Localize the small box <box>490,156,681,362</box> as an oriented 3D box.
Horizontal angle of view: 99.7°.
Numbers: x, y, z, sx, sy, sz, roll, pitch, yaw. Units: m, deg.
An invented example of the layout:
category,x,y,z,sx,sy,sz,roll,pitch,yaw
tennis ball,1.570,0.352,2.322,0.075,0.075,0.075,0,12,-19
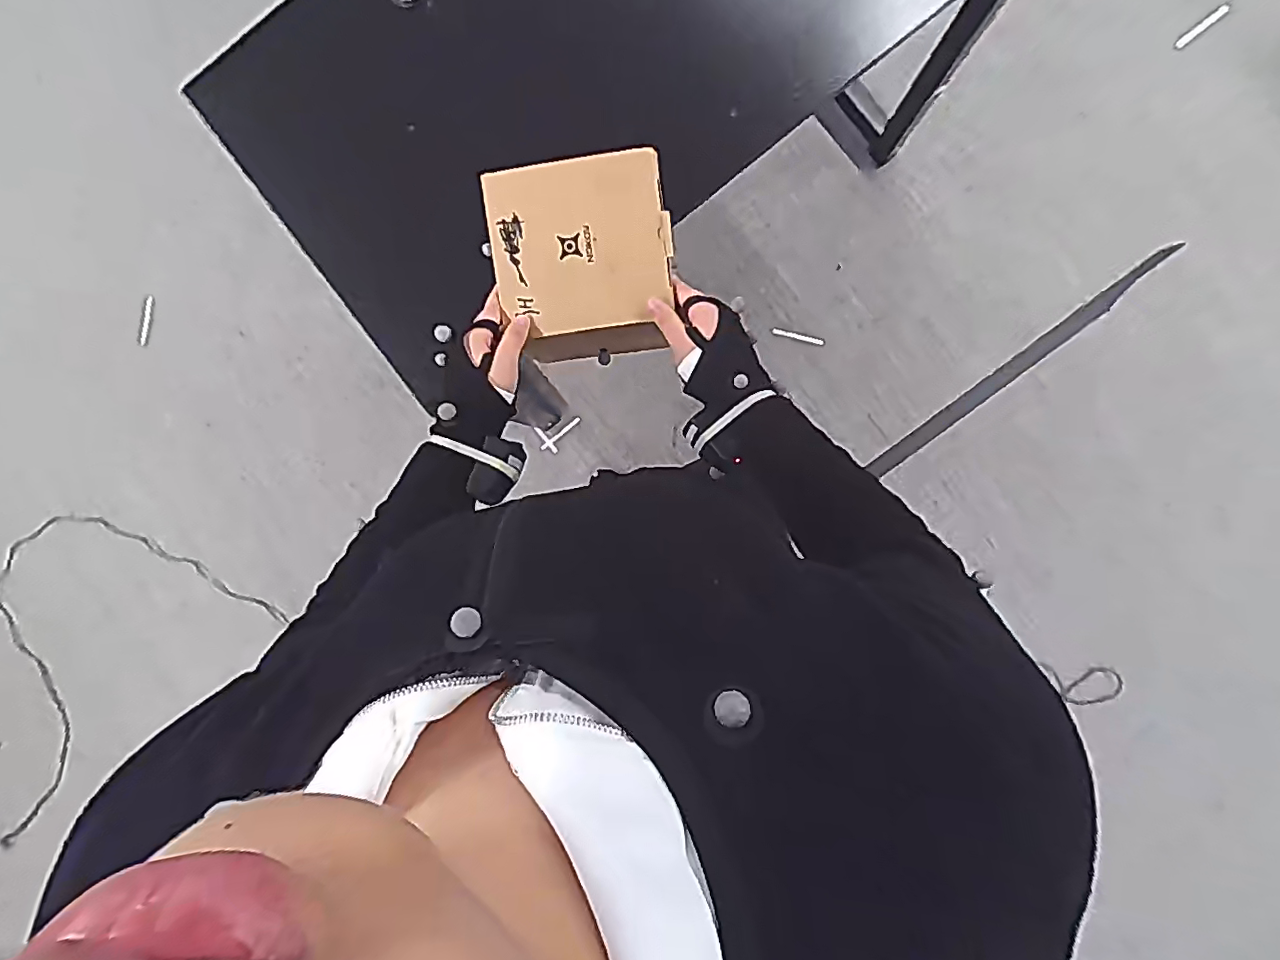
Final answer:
category,x,y,z,sx,sy,sz,roll,pitch,yaw
small box,-0.054,-0.235,0.614,0.179,0.176,0.168,-6,94,1
